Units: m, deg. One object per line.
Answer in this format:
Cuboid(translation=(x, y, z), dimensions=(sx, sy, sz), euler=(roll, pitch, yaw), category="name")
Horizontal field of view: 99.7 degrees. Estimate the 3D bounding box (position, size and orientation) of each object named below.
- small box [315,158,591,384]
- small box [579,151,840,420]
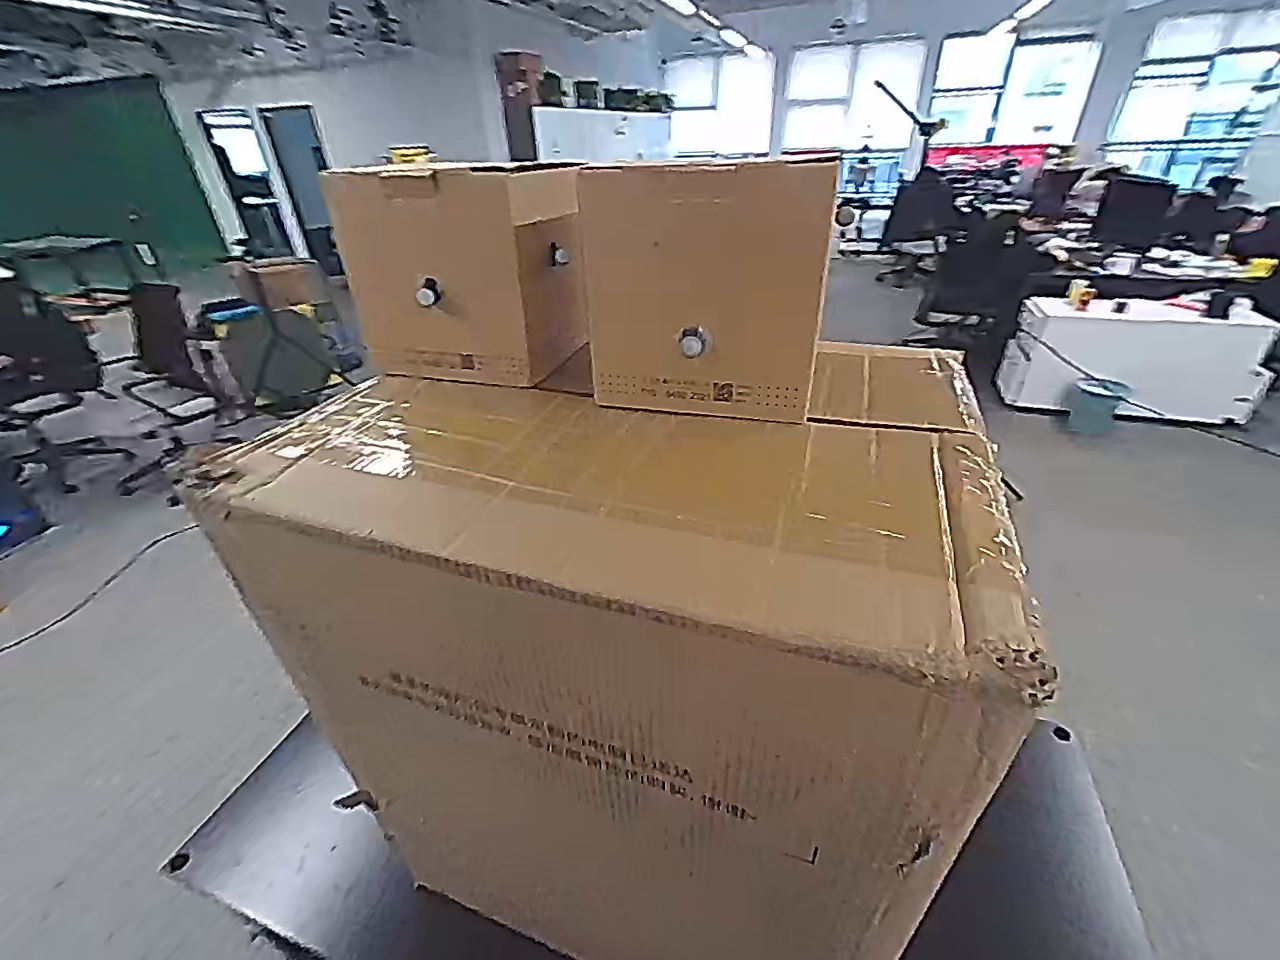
Cuboid(translation=(-0.150, -0.200, 0.509), dimensions=(0.168, 0.176, 0.179), euler=(7, 33, 13), category="small box")
Cuboid(translation=(0.062, -0.164, 0.436), dimensions=(0.168, 0.176, 0.179), euler=(7, 32, 16), category="small box")
